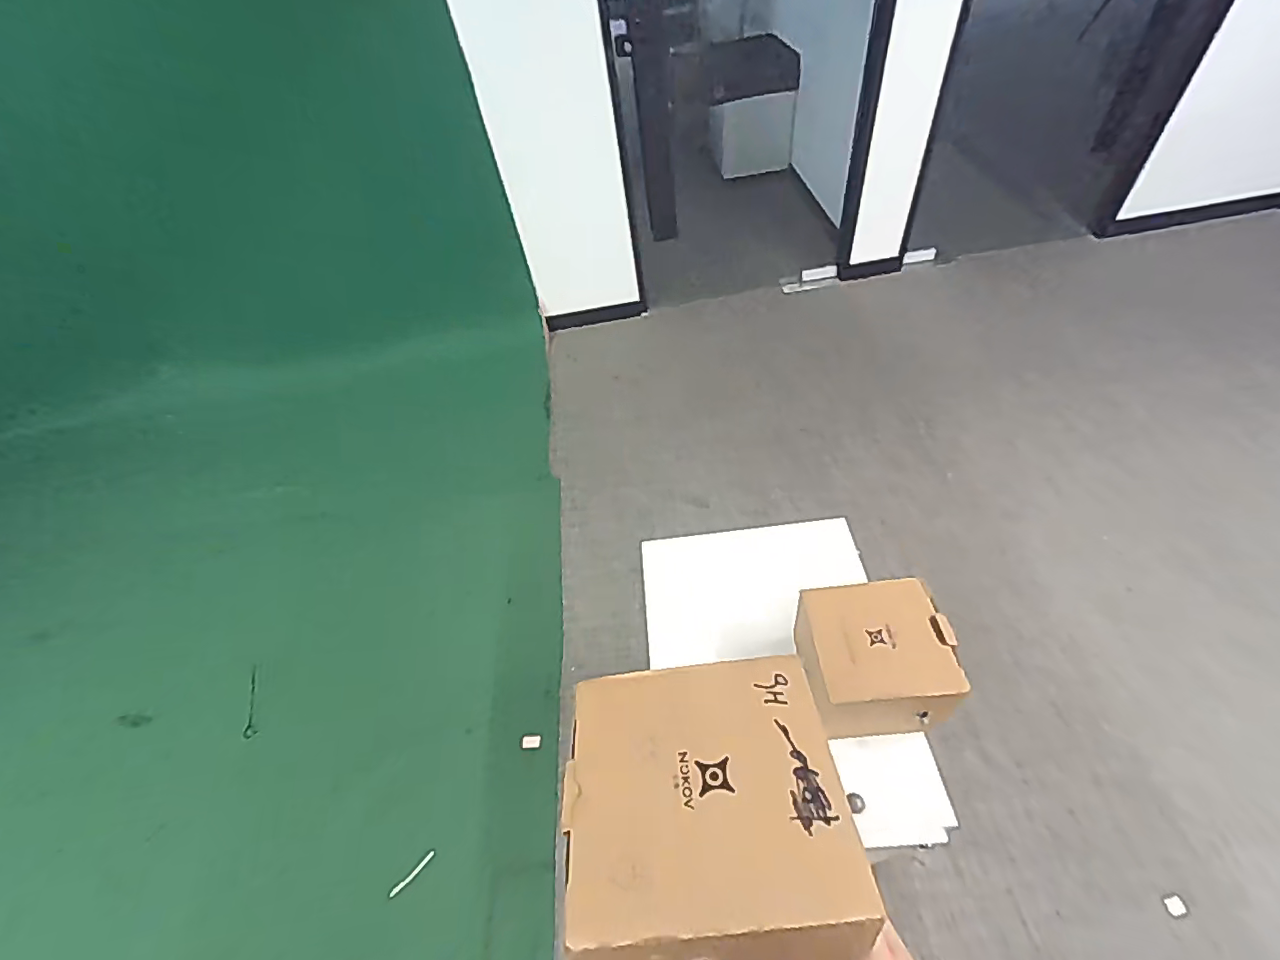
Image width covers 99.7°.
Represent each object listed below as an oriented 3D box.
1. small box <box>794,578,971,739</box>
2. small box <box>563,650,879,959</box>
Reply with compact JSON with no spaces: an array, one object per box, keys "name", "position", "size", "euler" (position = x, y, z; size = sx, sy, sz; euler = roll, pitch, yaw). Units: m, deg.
[{"name":"small box","position":[0.332,0.262,0.784],"size":[0.179,0.176,0.168],"euler":[-8,49,5]},{"name":"small box","position":[0.052,0.254,0.400],"size":[0.179,0.176,0.168],"euler":[-8,37,2]}]
